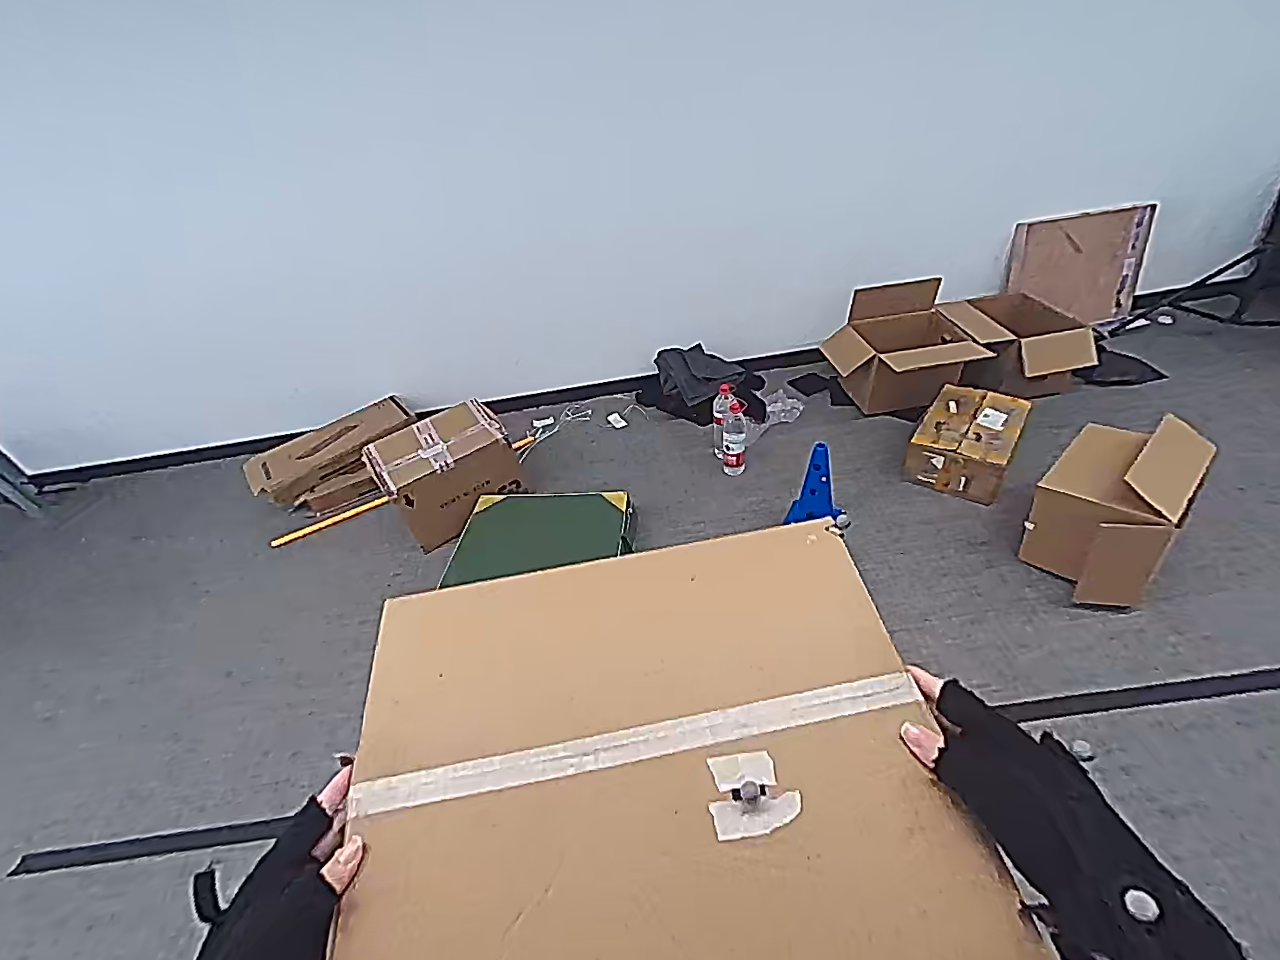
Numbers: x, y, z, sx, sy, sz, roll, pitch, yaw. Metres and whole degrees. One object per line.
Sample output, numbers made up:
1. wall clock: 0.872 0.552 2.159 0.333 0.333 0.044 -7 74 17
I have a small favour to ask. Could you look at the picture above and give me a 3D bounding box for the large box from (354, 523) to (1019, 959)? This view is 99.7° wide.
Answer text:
1. large box: 0.015 0.285 0.512 0.408 0.320 0.320 -10 50 -3
